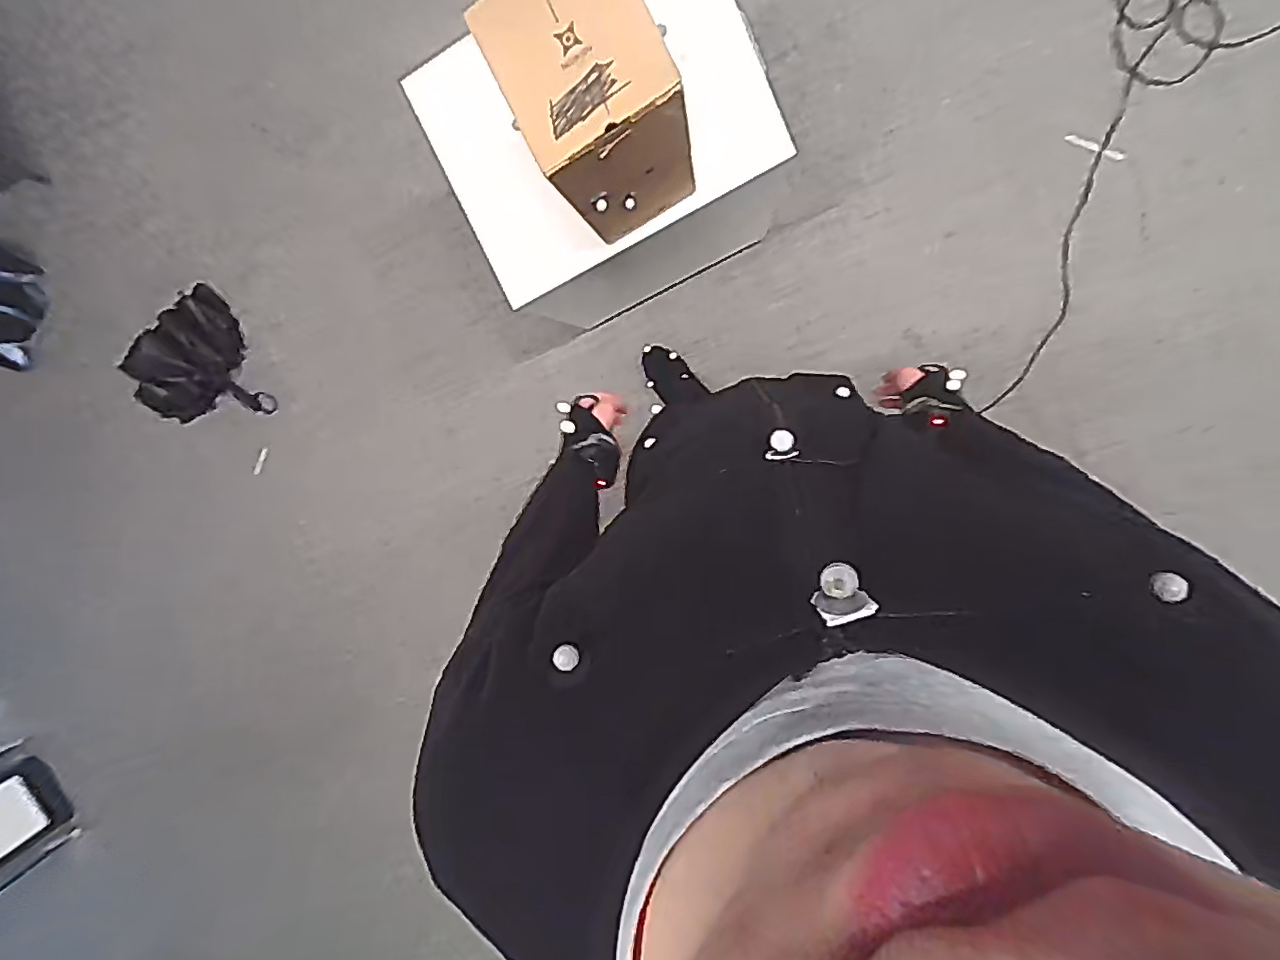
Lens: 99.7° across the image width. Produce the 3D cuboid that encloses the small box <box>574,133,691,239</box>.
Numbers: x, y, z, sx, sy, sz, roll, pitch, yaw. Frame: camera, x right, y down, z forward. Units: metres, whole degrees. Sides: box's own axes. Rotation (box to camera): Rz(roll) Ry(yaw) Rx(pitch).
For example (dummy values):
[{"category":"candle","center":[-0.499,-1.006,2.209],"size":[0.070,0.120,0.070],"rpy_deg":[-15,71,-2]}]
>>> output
[{"category":"small box","center":[-0.038,-0.479,0.771],"size":[0.168,0.176,0.179],"rpy_deg":[-28,97,13]}]

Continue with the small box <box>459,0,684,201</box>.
[{"category":"small box","center":[-0.061,-0.445,0.610],"size":[0.168,0.176,0.179],"rpy_deg":[-27,96,12]}]
